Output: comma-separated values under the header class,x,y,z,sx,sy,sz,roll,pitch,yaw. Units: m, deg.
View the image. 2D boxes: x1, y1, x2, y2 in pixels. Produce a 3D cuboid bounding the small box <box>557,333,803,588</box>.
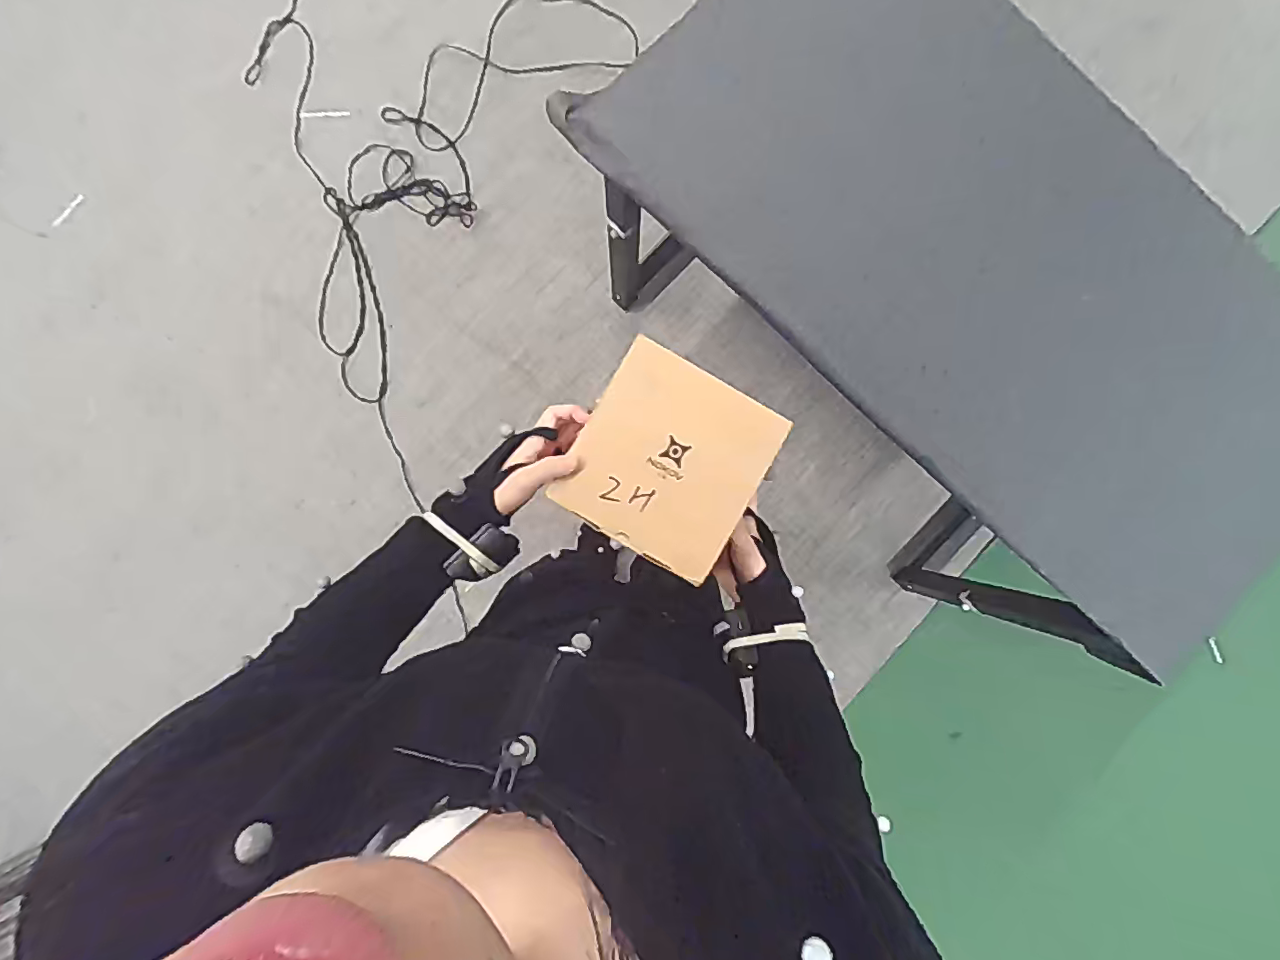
class,x,y,z,sx,sy,sz,roll,pitch,yaw
small box,0.031,-0.014,0.560,0.168,0.176,0.179,31,85,-1
